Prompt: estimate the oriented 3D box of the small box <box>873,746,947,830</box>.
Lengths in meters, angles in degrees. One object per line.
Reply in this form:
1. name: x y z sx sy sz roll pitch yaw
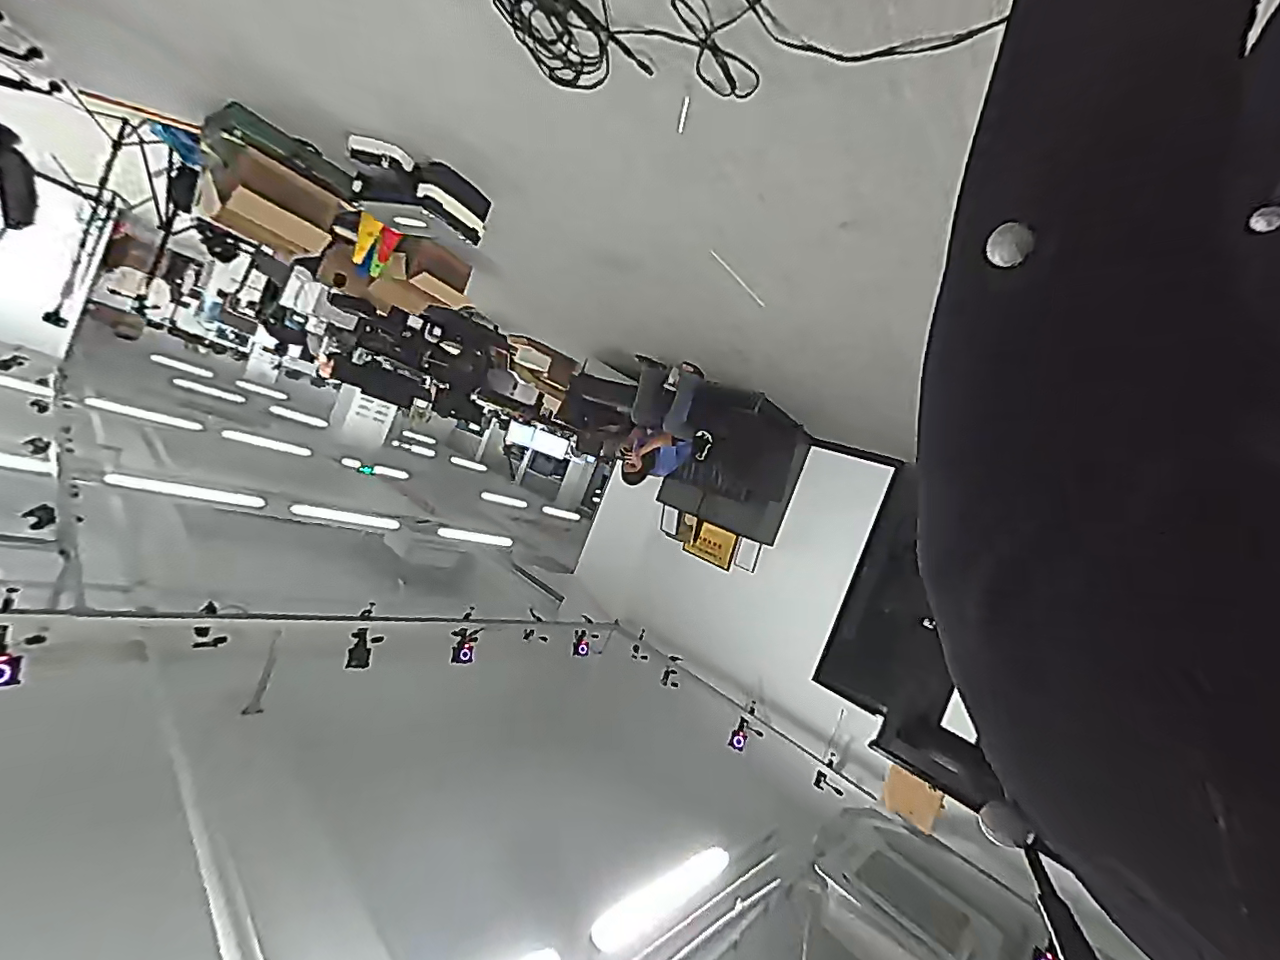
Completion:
1. small box: 0.918 1.031 1.832 0.168 0.176 0.179 22 -178 37
